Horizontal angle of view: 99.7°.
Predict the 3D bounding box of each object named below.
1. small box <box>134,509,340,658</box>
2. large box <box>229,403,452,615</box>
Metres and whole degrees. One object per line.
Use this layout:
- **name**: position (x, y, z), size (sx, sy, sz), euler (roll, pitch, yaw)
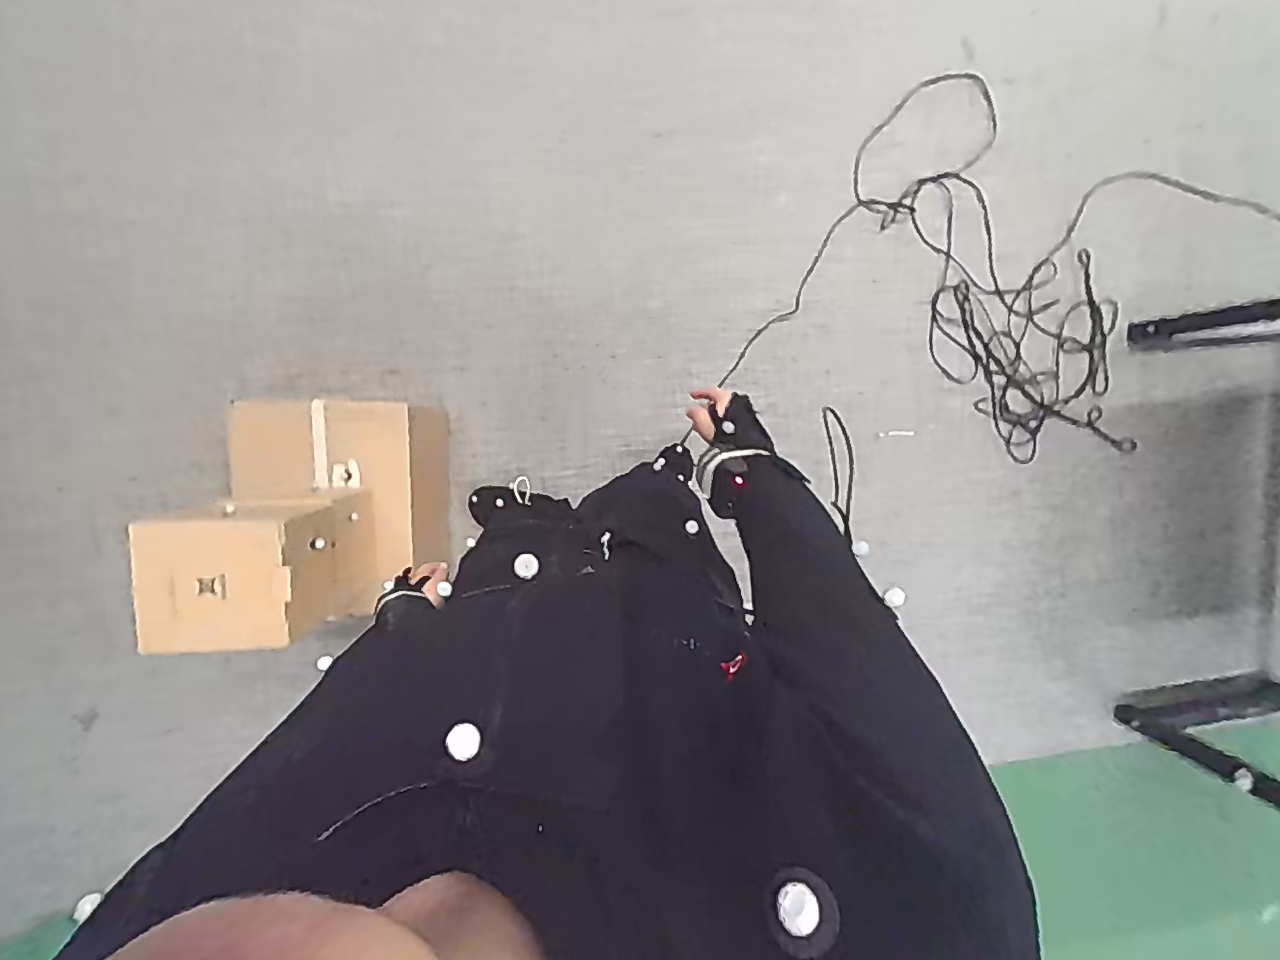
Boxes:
- **small box**: position (-0.537, 0.132, 0.751), size (0.179, 0.176, 0.168), euler (-1, 94, -6)
- **large box**: position (-0.599, 0.048, 1.148), size (0.320, 0.320, 0.408), euler (-1, 95, -8)
